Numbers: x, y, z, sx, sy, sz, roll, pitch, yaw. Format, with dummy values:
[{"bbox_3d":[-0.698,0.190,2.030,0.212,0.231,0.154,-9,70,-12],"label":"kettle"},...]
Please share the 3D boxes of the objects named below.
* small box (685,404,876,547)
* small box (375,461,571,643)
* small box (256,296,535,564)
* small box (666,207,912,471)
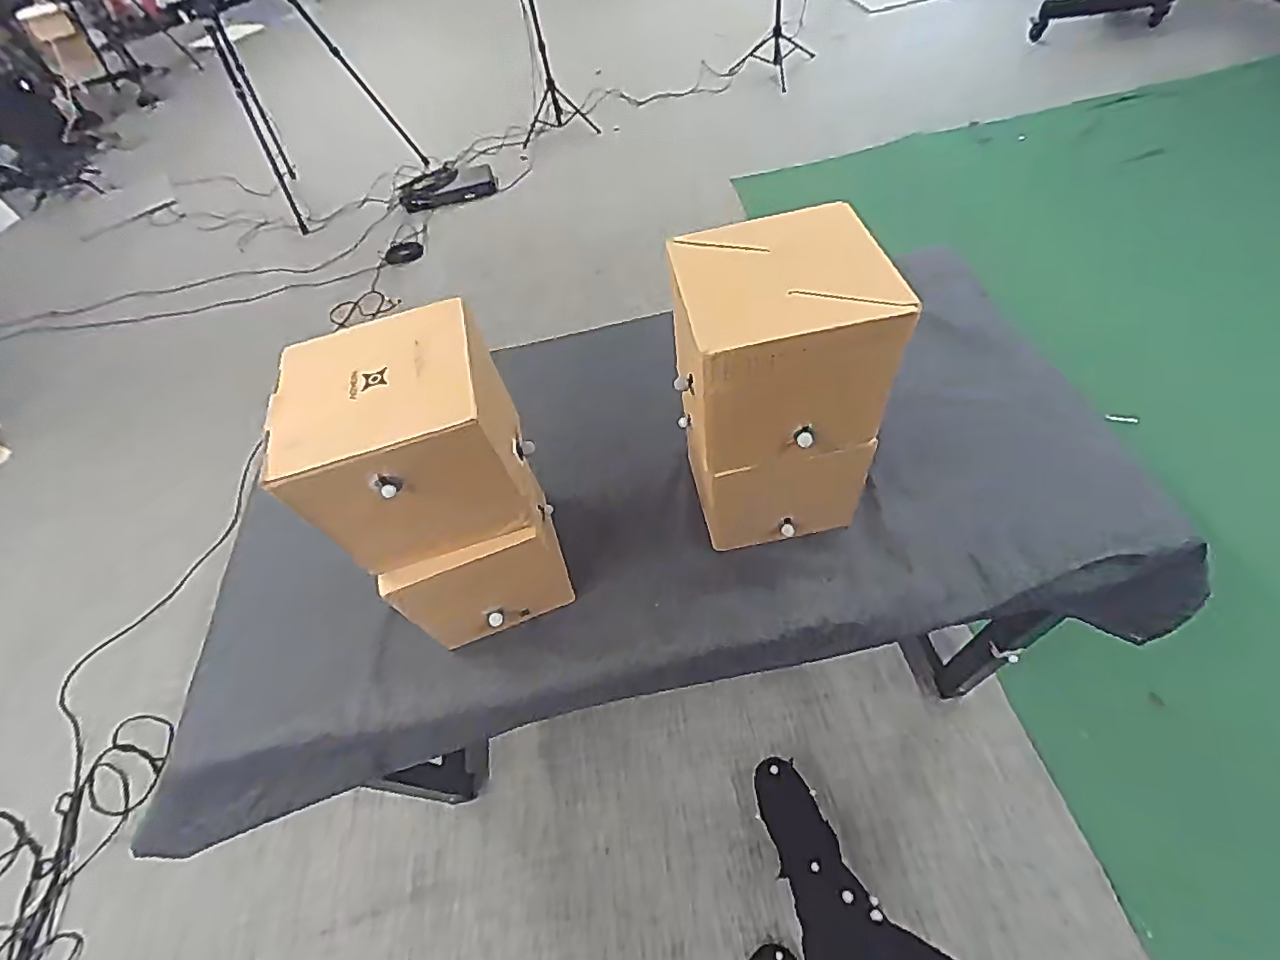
[{"bbox_3d":[0.153,-0.038,0.657,0.179,0.176,0.168,-12,54,1],"label":"small box"},{"bbox_3d":[-0.196,0.065,0.646,0.168,0.176,0.179,-21,55,-5],"label":"small box"},{"bbox_3d":[-0.218,-0.040,0.523,0.179,0.176,0.168,-17,56,-3],"label":"small box"},{"bbox_3d":[0.127,-0.135,0.523,0.179,0.176,0.168,-11,54,2],"label":"small box"}]
